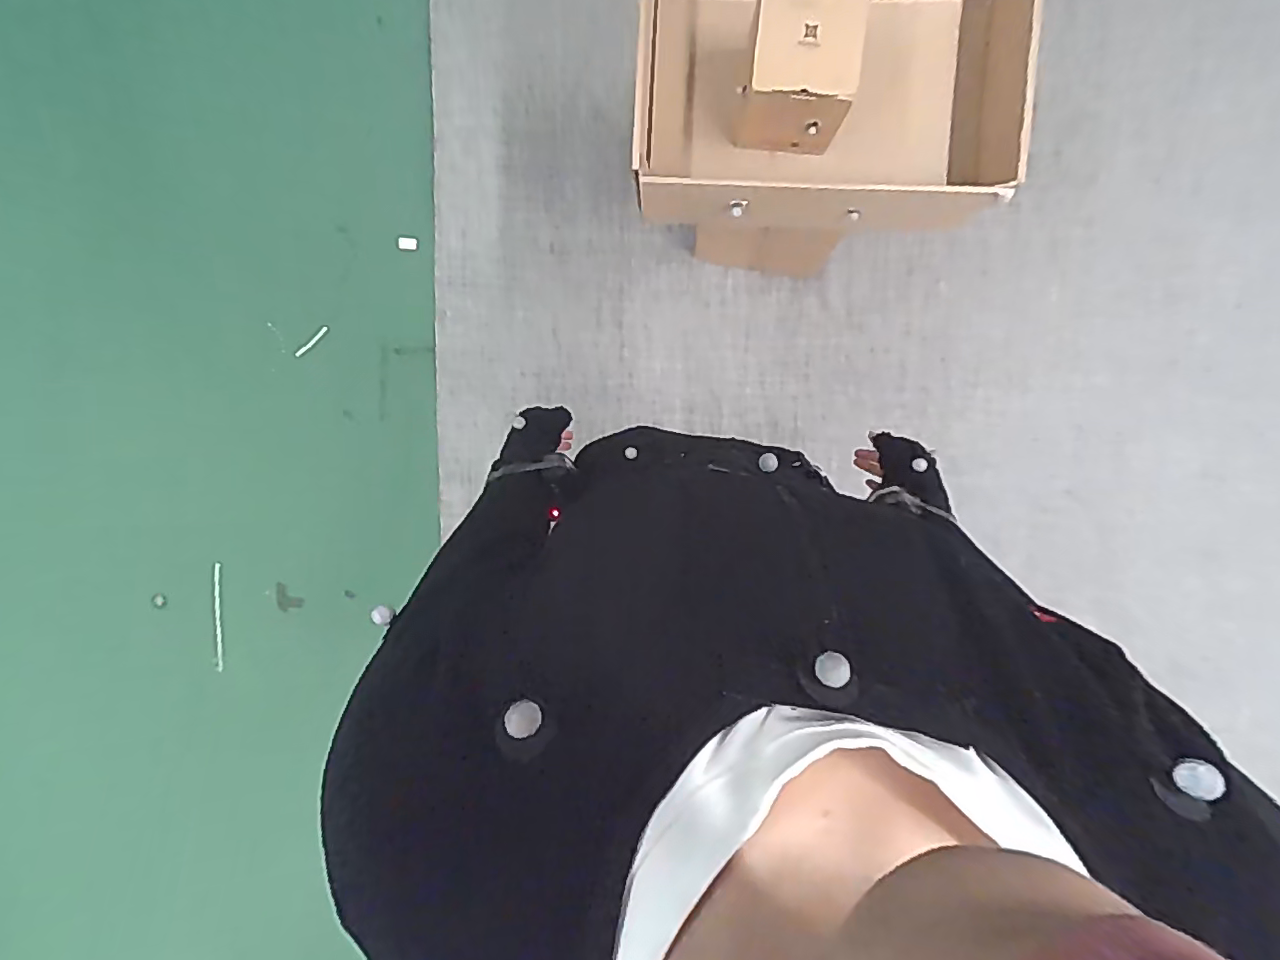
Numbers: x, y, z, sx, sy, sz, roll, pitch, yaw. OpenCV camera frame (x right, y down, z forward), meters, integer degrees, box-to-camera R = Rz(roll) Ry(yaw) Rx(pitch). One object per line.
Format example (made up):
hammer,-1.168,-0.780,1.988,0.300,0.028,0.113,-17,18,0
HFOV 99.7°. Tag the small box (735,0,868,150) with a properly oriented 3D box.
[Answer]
small box,0.257,-0.682,0.896,0.168,0.176,0.179,5,93,-1
